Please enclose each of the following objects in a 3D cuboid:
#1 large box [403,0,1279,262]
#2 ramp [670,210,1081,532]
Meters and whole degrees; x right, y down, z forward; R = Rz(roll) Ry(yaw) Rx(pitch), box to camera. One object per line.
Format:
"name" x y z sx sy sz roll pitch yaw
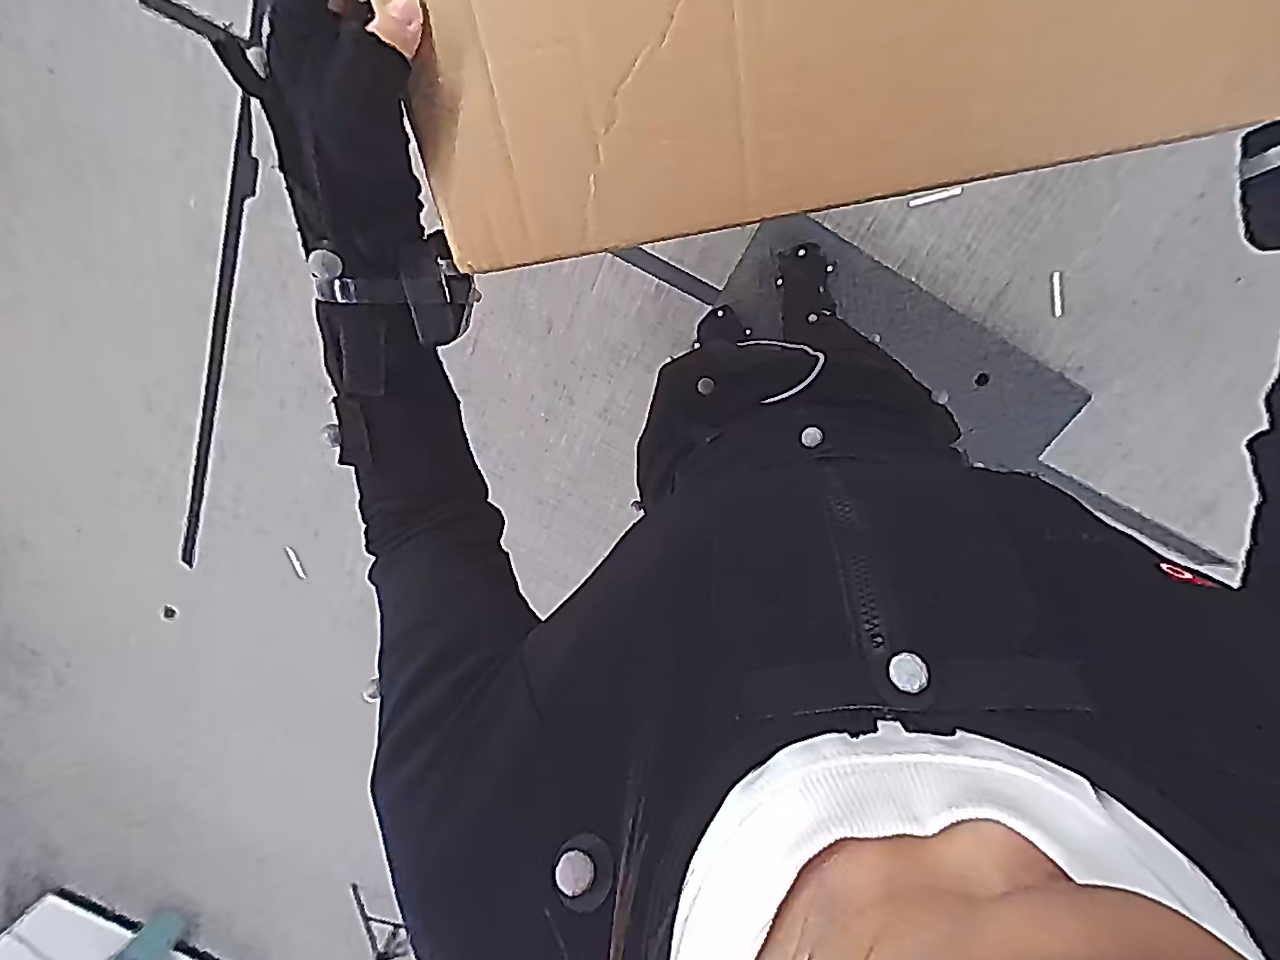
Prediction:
"large box" 0.085 -0.352 0.352 0.408 0.320 0.320 -6 117 10
"ramp" 0.623 -0.245 1.413 0.991 0.206 0.509 27 110 -2
